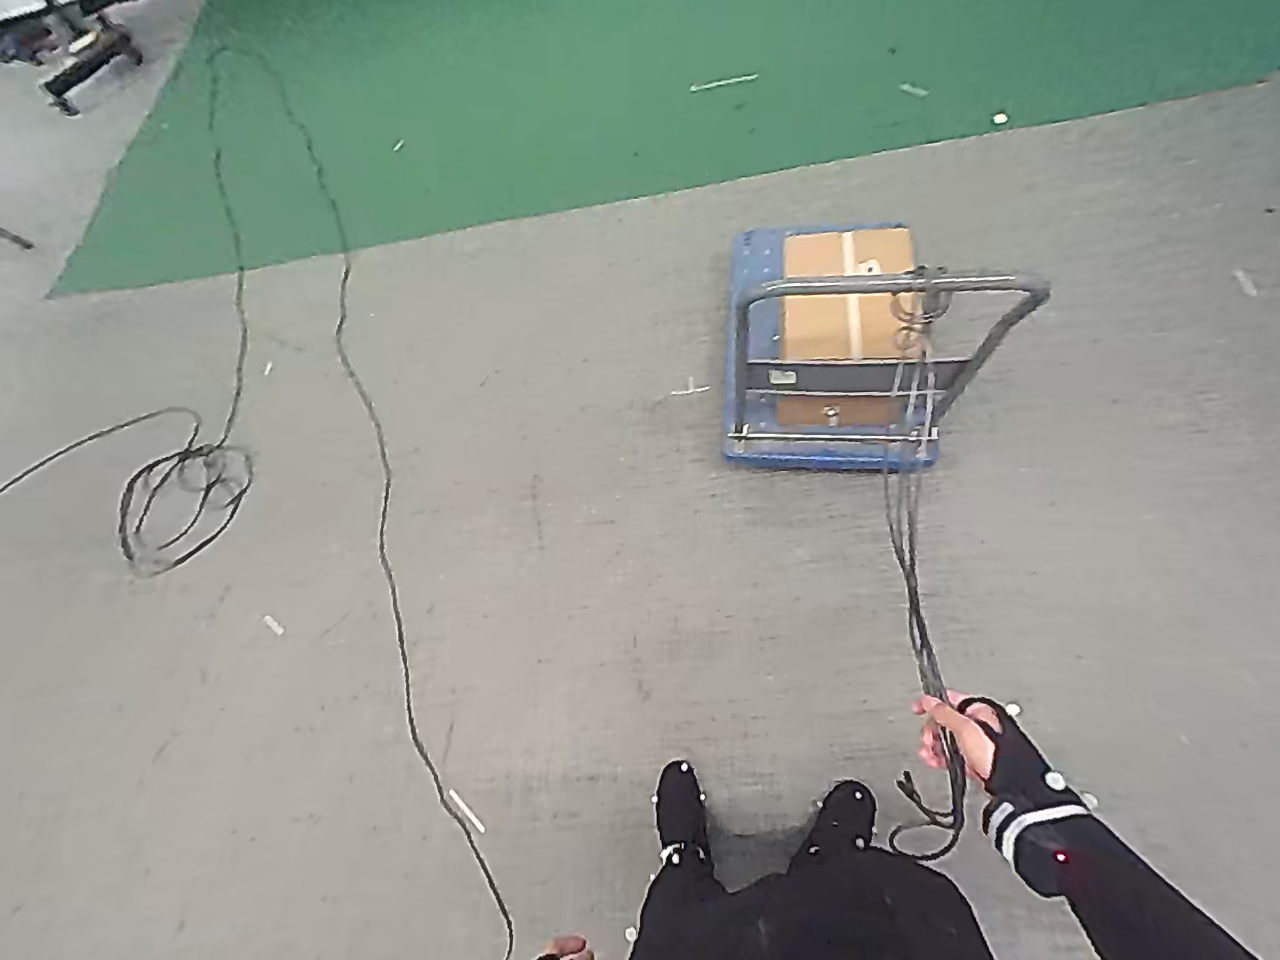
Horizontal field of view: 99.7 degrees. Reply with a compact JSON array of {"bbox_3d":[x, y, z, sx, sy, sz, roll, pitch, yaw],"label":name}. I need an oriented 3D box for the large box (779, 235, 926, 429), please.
[{"bbox_3d":[0.541,-0.385,1.461,0.320,0.320,0.408,1,65,11],"label":"large box"}]
